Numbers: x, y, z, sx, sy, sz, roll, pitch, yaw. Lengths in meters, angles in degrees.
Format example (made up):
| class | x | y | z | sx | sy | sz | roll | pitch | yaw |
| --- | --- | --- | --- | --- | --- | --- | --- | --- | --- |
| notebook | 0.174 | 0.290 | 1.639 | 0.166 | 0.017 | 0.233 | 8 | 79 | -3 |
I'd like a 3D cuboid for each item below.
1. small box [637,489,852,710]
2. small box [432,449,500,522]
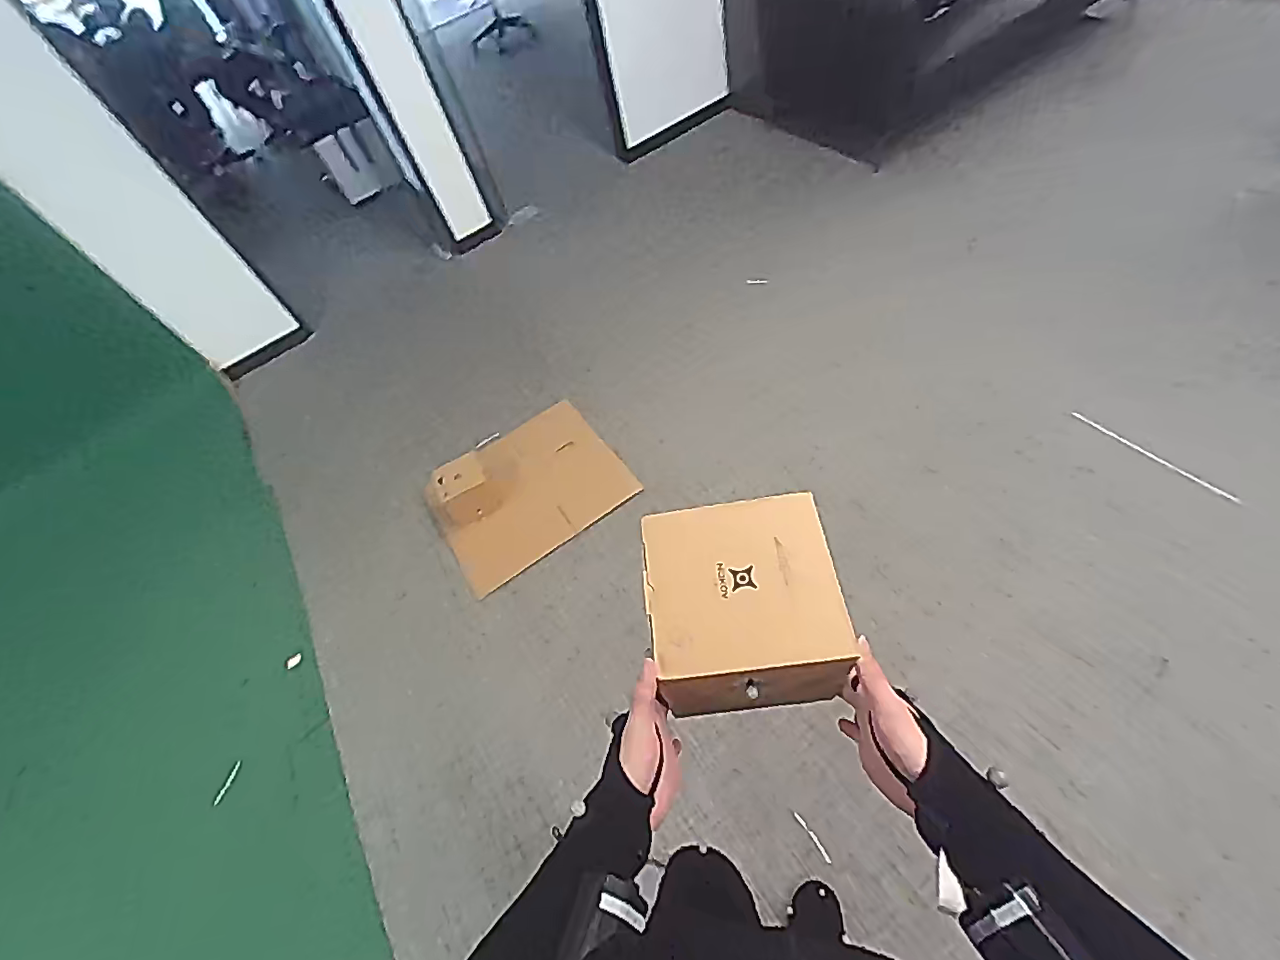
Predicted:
| class | x | y | z | sx | sy | sz | roll | pitch | yaw |
| --- | --- | --- | --- | --- | --- | --- | --- | --- | --- |
| small box | 0.100 | 0.133 | 0.565 | 0.179 | 0.176 | 0.168 | -9 | 56 | 5 |
| small box | -0.635 | 0.023 | 1.997 | 0.179 | 0.176 | 0.168 | -27 | 54 | -6 |
